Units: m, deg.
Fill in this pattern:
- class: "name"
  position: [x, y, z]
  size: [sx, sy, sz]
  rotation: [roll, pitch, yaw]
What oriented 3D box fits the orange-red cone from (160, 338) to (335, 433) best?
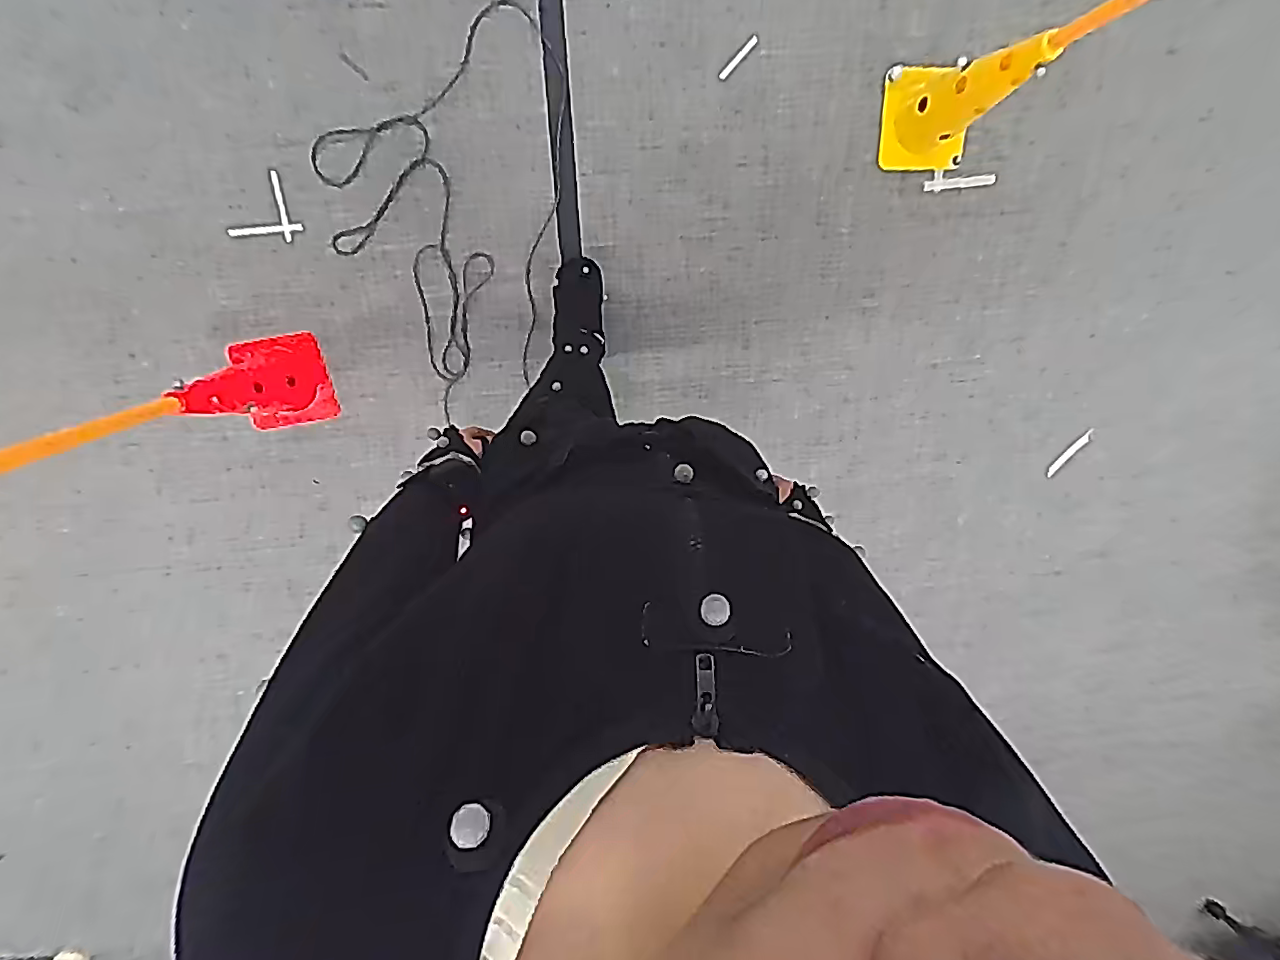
- class: "orange-red cone"
  position: [-0.794, -0.166, 1.062]
  size: [0.199, 0.360, 0.198]
  rotation: [-10, 107, -4]
